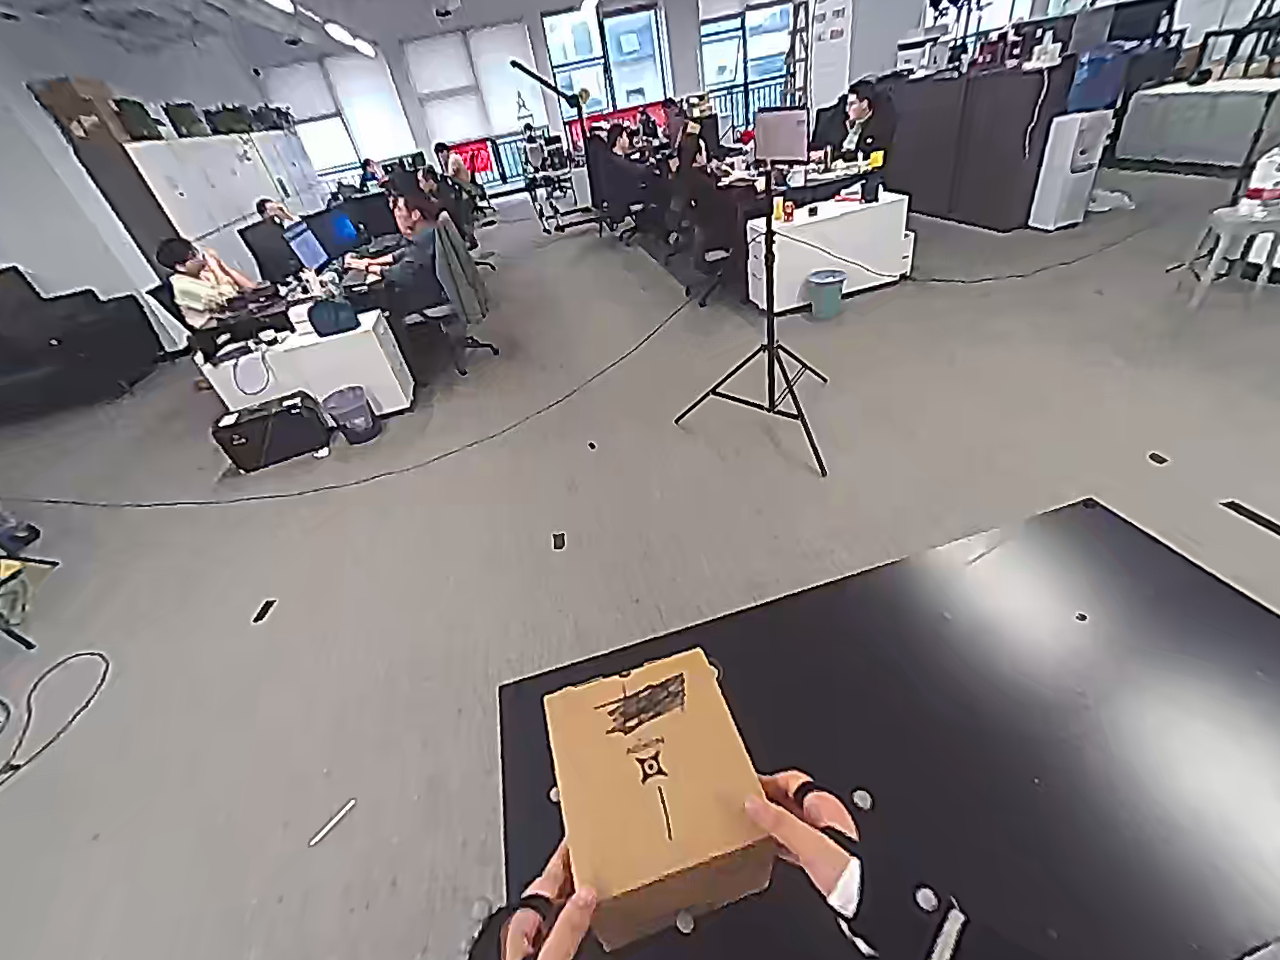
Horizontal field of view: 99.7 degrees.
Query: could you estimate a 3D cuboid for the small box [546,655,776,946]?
[{"bbox_3d":[0.013,0.309,0.528,0.168,0.176,0.179,-14,43,-9],"label":"small box"}]
